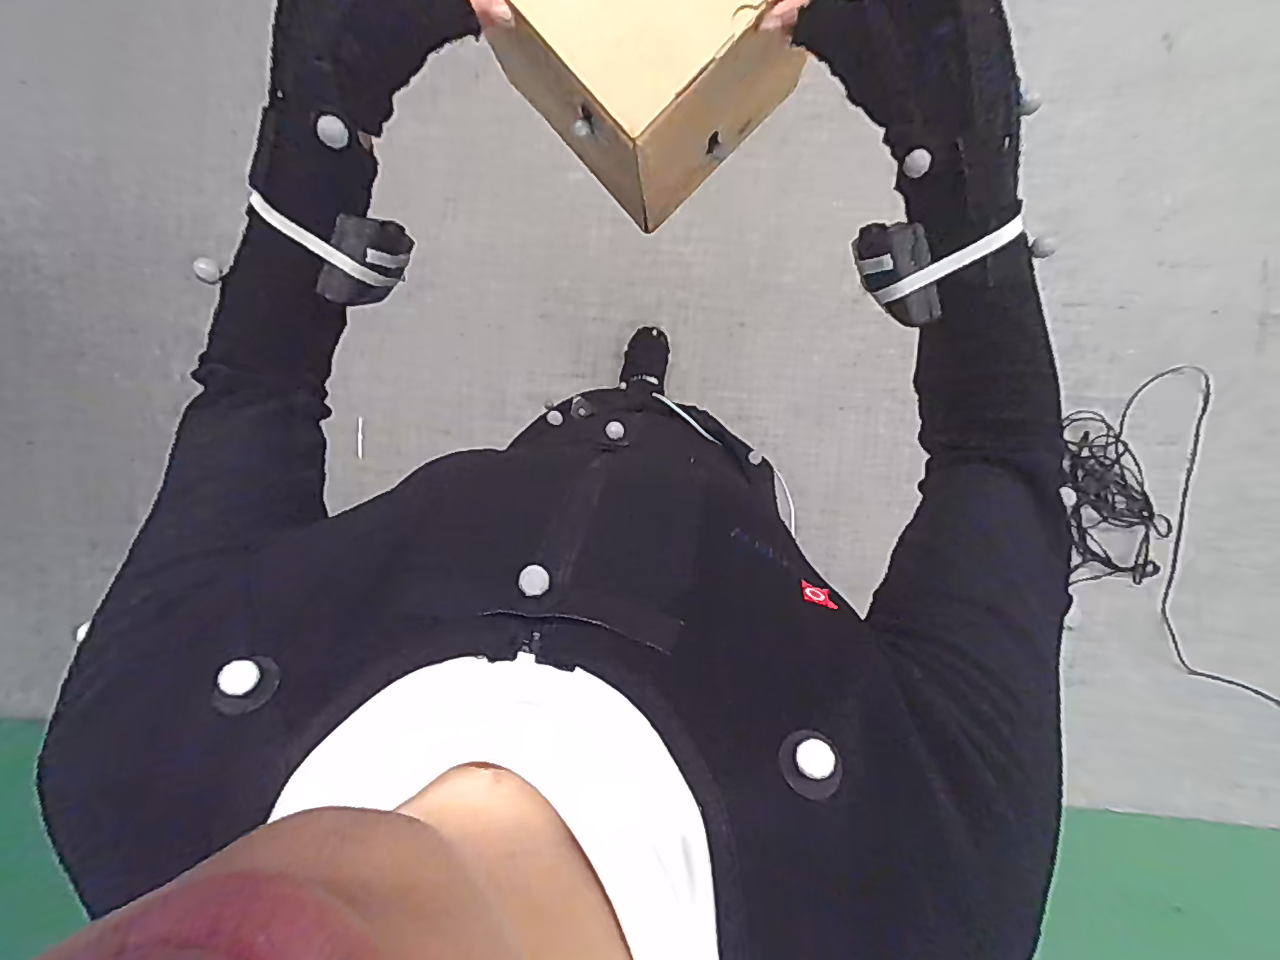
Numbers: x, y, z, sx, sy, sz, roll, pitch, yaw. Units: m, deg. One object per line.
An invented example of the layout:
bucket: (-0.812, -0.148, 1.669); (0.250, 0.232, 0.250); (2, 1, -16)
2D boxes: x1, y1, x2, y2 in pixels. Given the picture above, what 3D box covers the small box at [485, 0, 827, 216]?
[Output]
small box: (0.005, -0.320, 0.366); (0.168, 0.176, 0.179); (-42, 95, 8)
